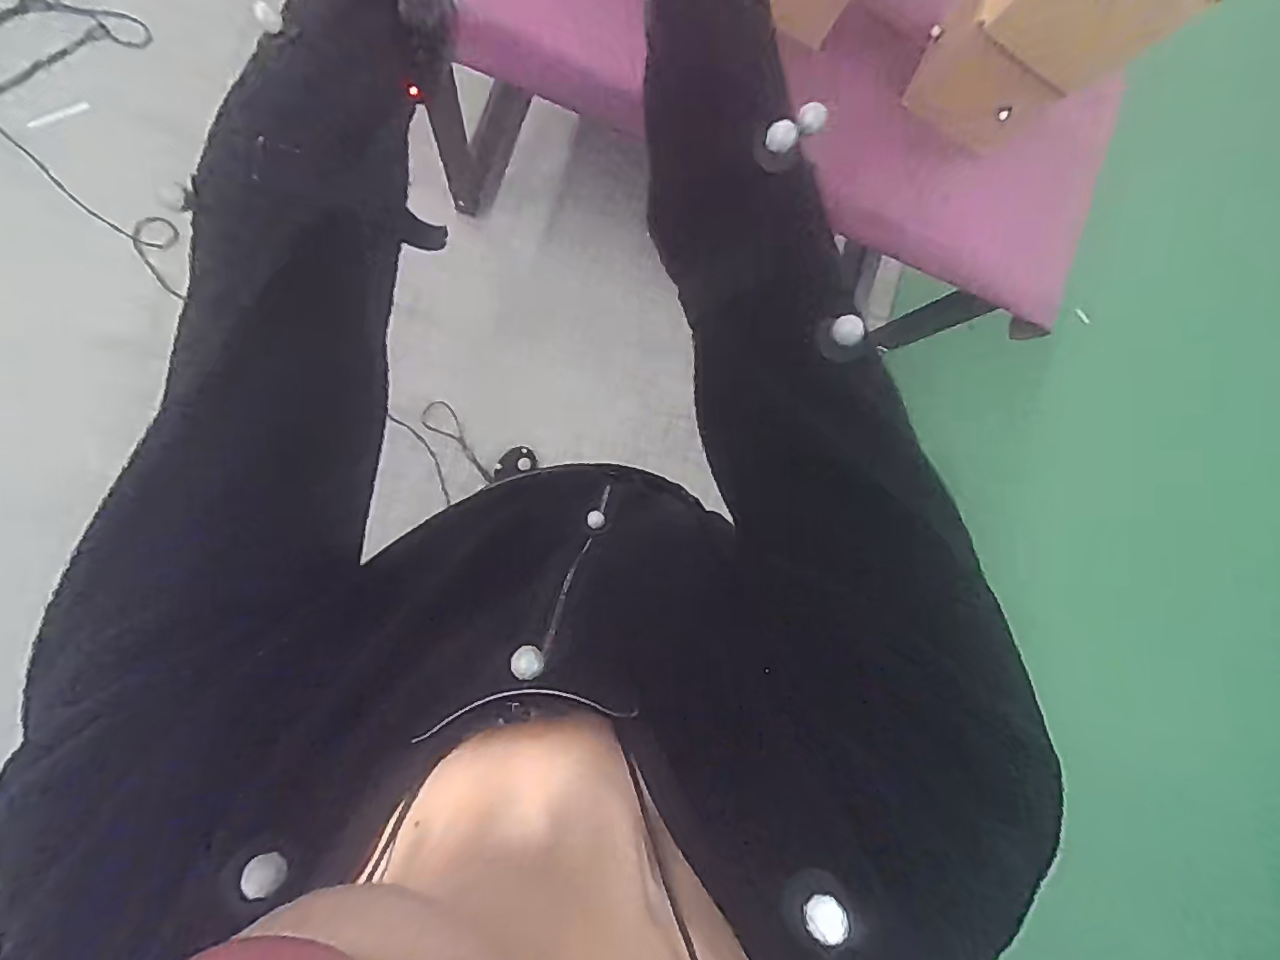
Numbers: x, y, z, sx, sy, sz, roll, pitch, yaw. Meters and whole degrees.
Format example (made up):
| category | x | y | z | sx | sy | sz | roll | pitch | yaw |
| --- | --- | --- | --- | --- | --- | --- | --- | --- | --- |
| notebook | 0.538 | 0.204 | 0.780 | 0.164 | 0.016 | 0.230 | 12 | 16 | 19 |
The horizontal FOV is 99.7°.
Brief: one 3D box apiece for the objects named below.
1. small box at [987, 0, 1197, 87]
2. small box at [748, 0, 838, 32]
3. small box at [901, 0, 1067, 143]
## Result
| category | x | y | z | sx | sy | sz | roll | pitch | yaw |
| --- | --- | --- | --- | --- | --- | --- | --- | --- | --- |
| small box | 0.583 | -0.648 | 0.671 | 0.179 | 0.176 | 0.168 | 27 | 84 | -10 |
| small box | 0.243 | -0.801 | 0.769 | 0.179 | 0.176 | 0.168 | 21 | 86 | -10 |
| small box | 0.549 | -0.665 | 0.831 | 0.179 | 0.176 | 0.168 | 28 | 84 | -9 |
